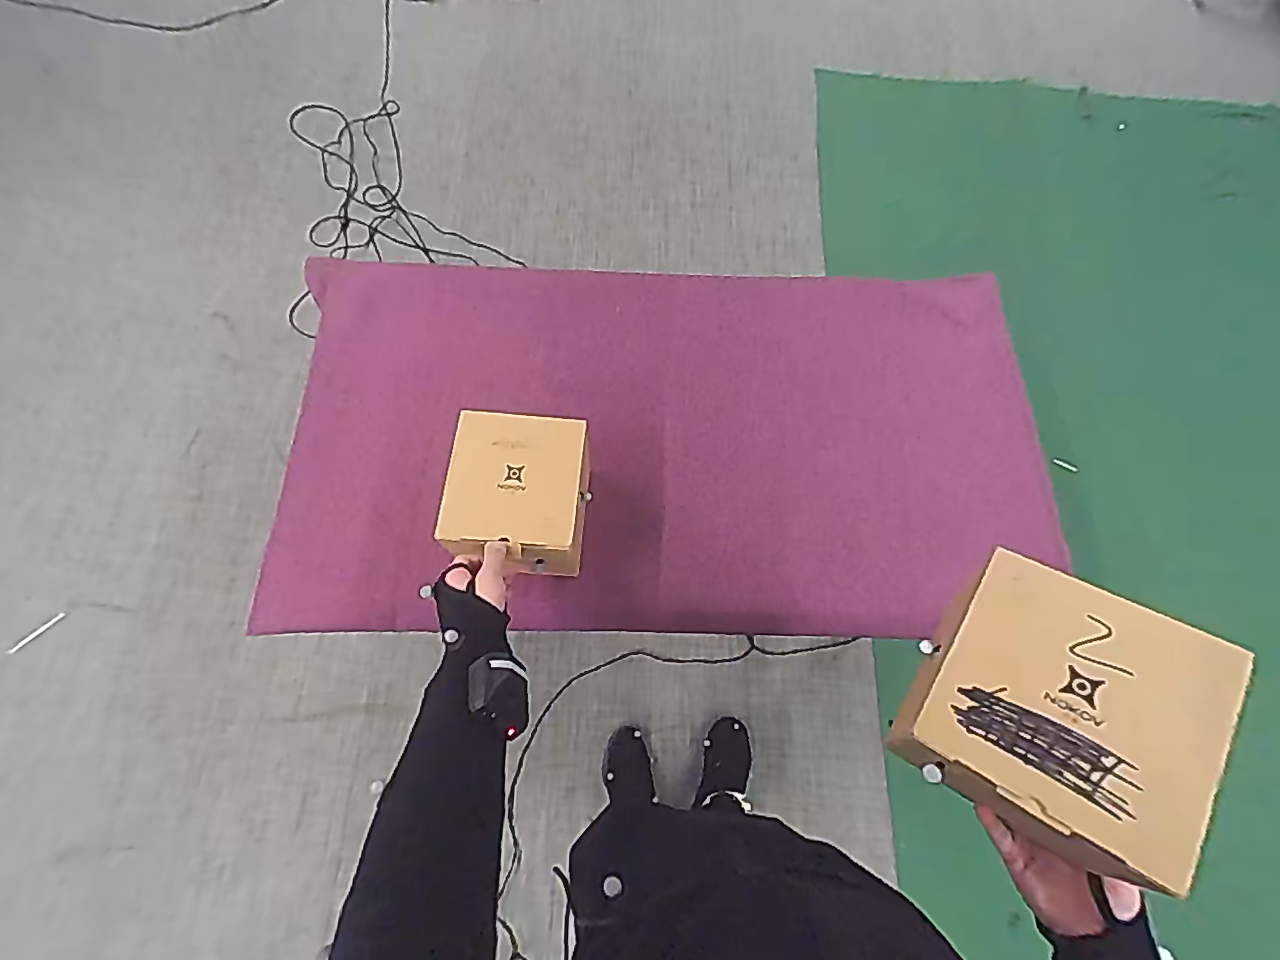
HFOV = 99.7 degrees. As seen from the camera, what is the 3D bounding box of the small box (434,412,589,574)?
[{"bbox_3d":[-0.163,0.027,0.752,0.168,0.176,0.179,6,68,-1],"label":"small box"}]
